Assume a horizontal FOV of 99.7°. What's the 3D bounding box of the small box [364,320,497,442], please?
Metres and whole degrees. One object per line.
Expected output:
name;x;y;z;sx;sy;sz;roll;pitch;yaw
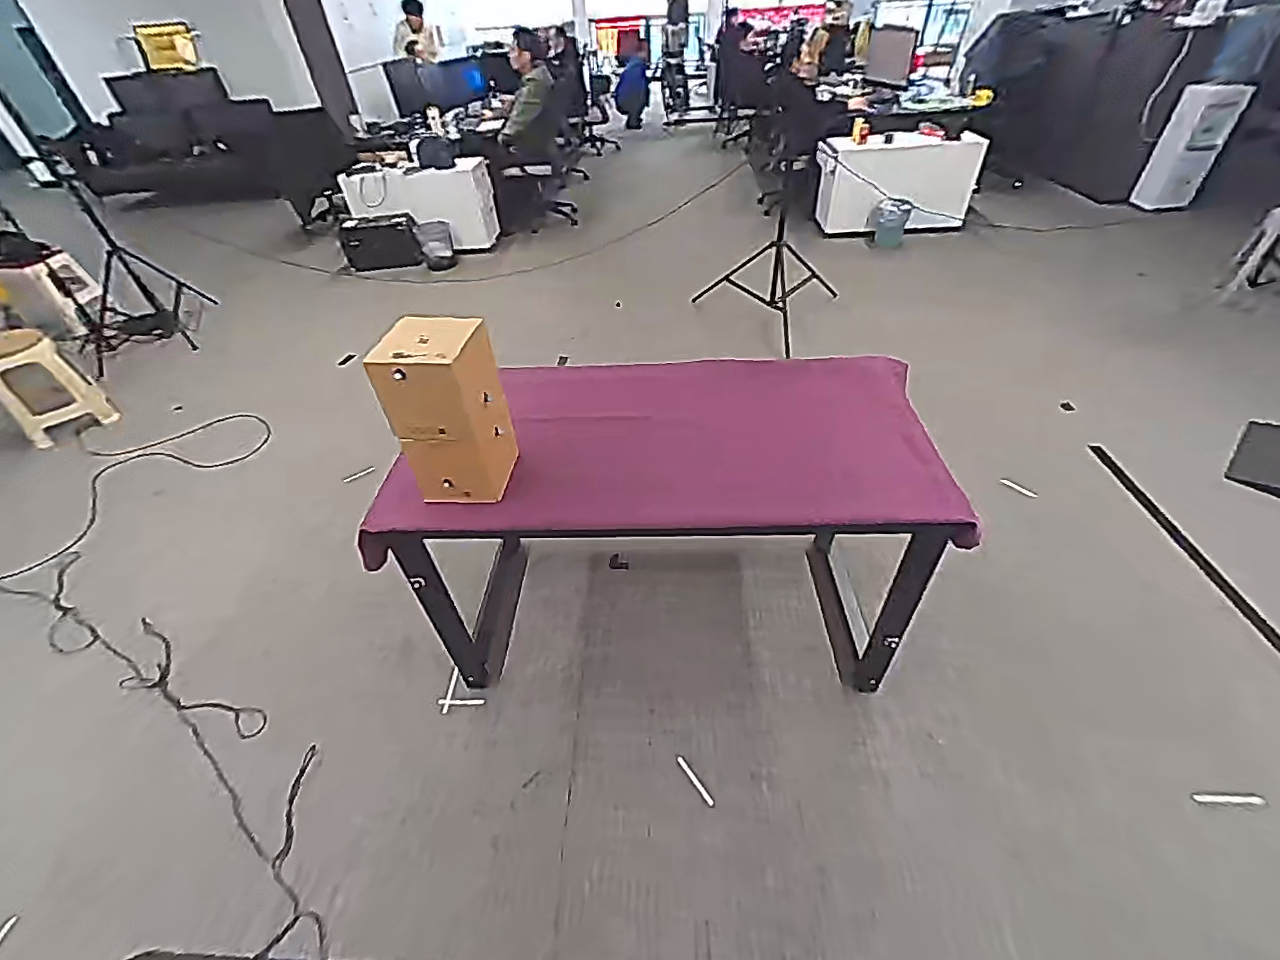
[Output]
small box;-0.386;-0.192;1.039;0.168;0.176;0.179;2;41;7

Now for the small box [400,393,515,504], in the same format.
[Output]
small box;-0.374;-0.069;1.147;0.168;0.176;0.179;1;42;5
